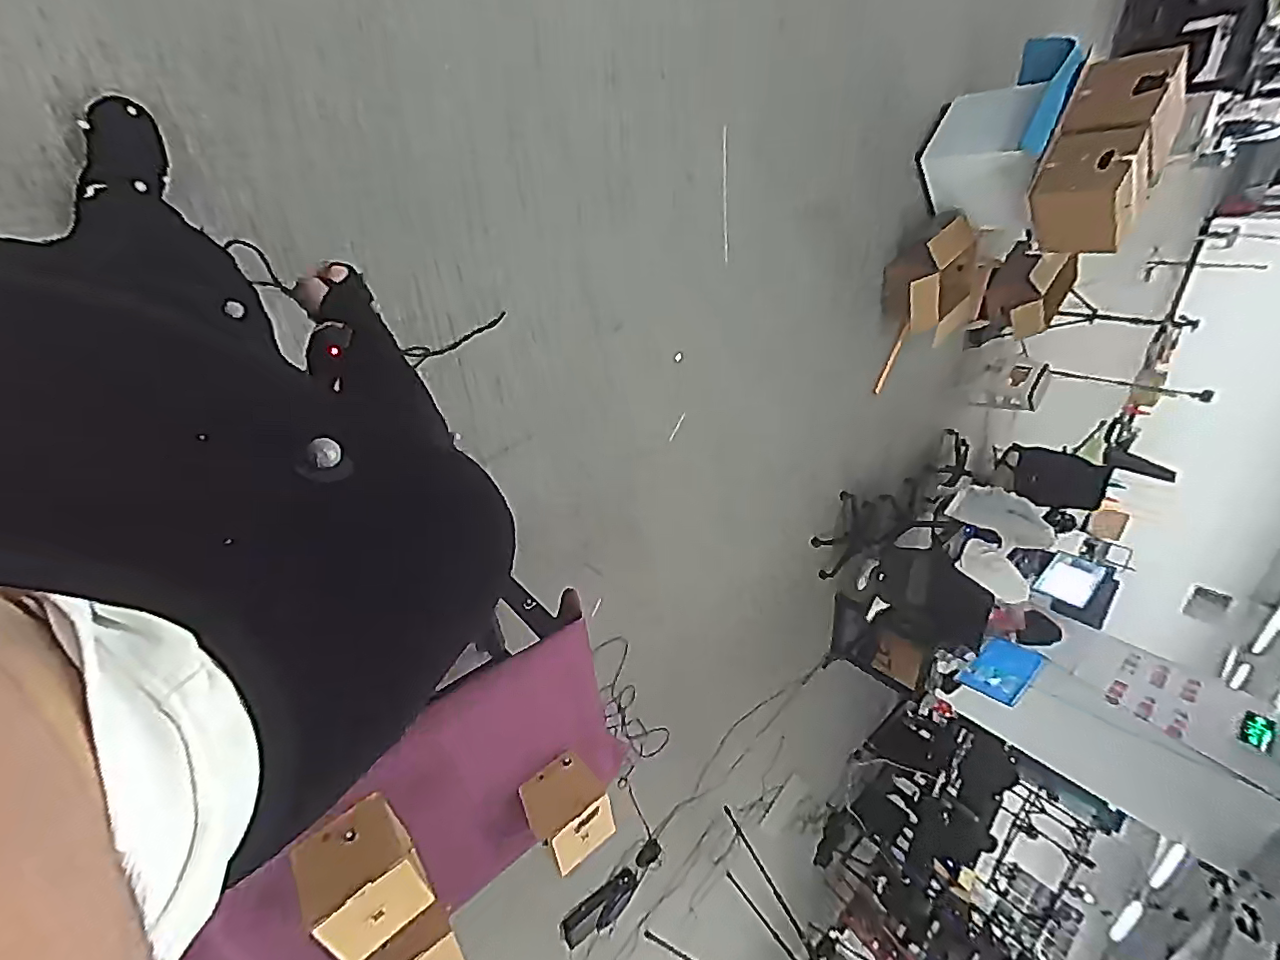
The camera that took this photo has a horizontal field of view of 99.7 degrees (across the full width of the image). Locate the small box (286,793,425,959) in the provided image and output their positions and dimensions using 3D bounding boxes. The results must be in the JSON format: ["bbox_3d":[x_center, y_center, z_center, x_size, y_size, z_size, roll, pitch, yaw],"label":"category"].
[{"bbox_3d":[-0.542,0.750,1.034,0.168,0.176,0.179,-28,127,-30],"label":"small box"}]

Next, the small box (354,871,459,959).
[{"bbox_3d":[-0.518,1.008,1.180,0.168,0.176,0.179,-23,124,-33],"label":"small box"}]

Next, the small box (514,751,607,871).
[{"bbox_3d":[-0.205,0.833,1.384,0.168,0.176,0.179,-26,126,-32],"label":"small box"}]
